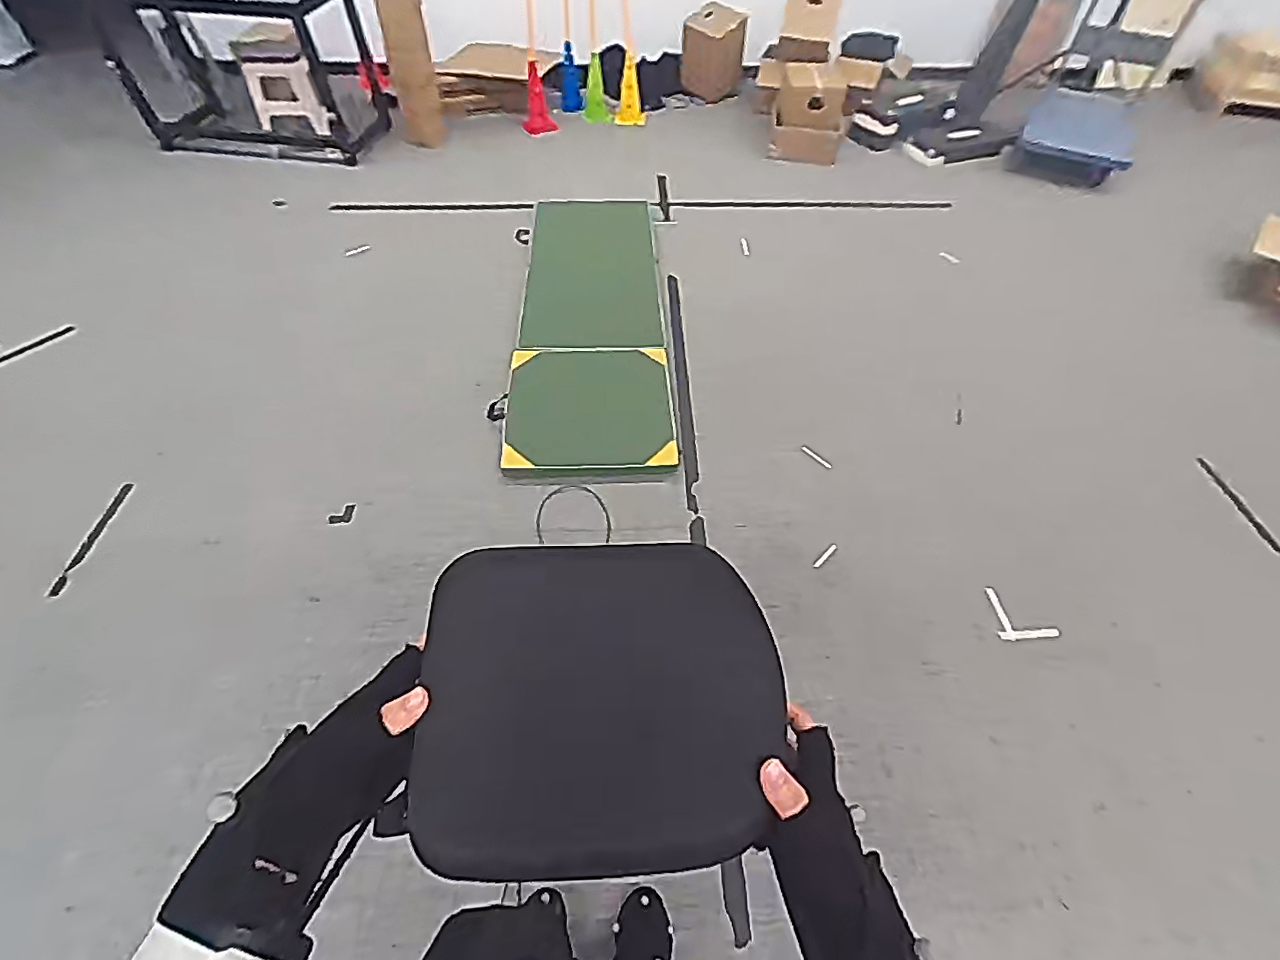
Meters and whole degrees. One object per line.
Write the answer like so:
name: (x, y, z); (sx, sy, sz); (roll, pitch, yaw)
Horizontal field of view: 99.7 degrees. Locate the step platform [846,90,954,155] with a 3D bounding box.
step platform: (1.682, -2.313, 3.485); (0.684, 0.204, 0.286); (-26, 59, -19)
